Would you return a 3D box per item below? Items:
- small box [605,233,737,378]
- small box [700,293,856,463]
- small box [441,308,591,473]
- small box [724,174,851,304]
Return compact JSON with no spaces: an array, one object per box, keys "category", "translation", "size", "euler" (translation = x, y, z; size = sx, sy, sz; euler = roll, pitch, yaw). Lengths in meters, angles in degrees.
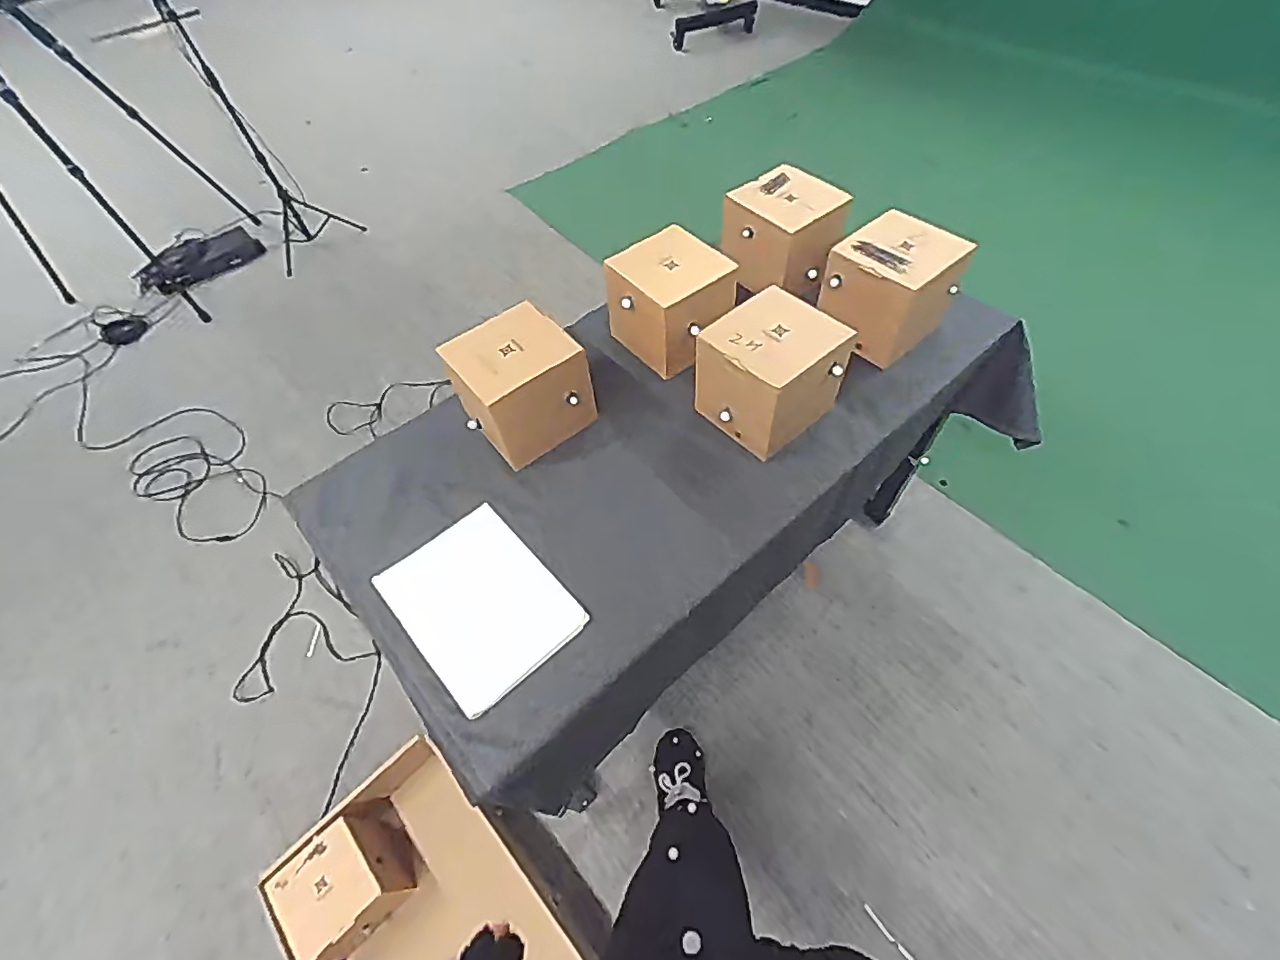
[{"category":"small box","translation":[0.058,-0.312,0.997],"size":[0.168,0.176,0.179],"euler":[-34,59,-17]},{"category":"small box","translation":[0.210,-0.162,0.875],"size":[0.179,0.176,0.168],"euler":[-36,59,-18]},{"category":"small box","translation":[-0.194,-0.147,0.900],"size":[0.179,0.176,0.168],"euler":[-34,59,-19]},{"category":"small box","translation":[0.283,-0.473,1.085],"size":[0.168,0.176,0.179],"euler":[-34,60,-17]}]
